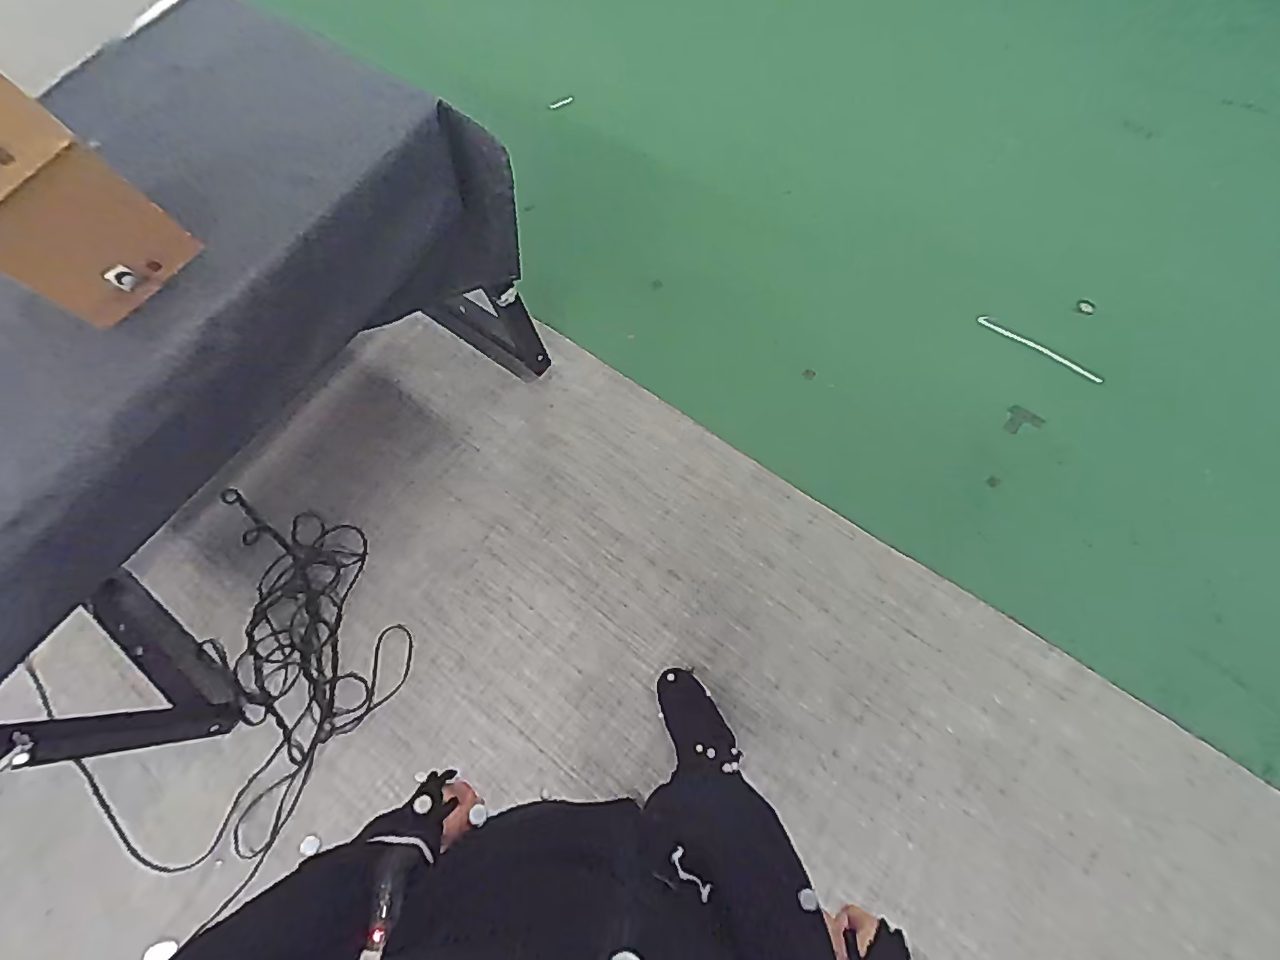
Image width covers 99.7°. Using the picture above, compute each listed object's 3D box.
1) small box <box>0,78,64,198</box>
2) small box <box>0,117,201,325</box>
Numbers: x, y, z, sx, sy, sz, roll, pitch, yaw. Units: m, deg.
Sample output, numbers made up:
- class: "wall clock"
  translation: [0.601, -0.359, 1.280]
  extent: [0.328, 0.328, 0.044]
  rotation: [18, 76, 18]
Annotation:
- class: "small box"
  translation: [-0.723, -0.368, 0.507]
  extent: [0.179, 0.176, 0.168]
  rotation: [34, 79, 16]
- class: "small box"
  translation: [-0.711, -0.324, 0.663]
  extent: [0.179, 0.176, 0.168]
  rotation: [36, 79, 15]
